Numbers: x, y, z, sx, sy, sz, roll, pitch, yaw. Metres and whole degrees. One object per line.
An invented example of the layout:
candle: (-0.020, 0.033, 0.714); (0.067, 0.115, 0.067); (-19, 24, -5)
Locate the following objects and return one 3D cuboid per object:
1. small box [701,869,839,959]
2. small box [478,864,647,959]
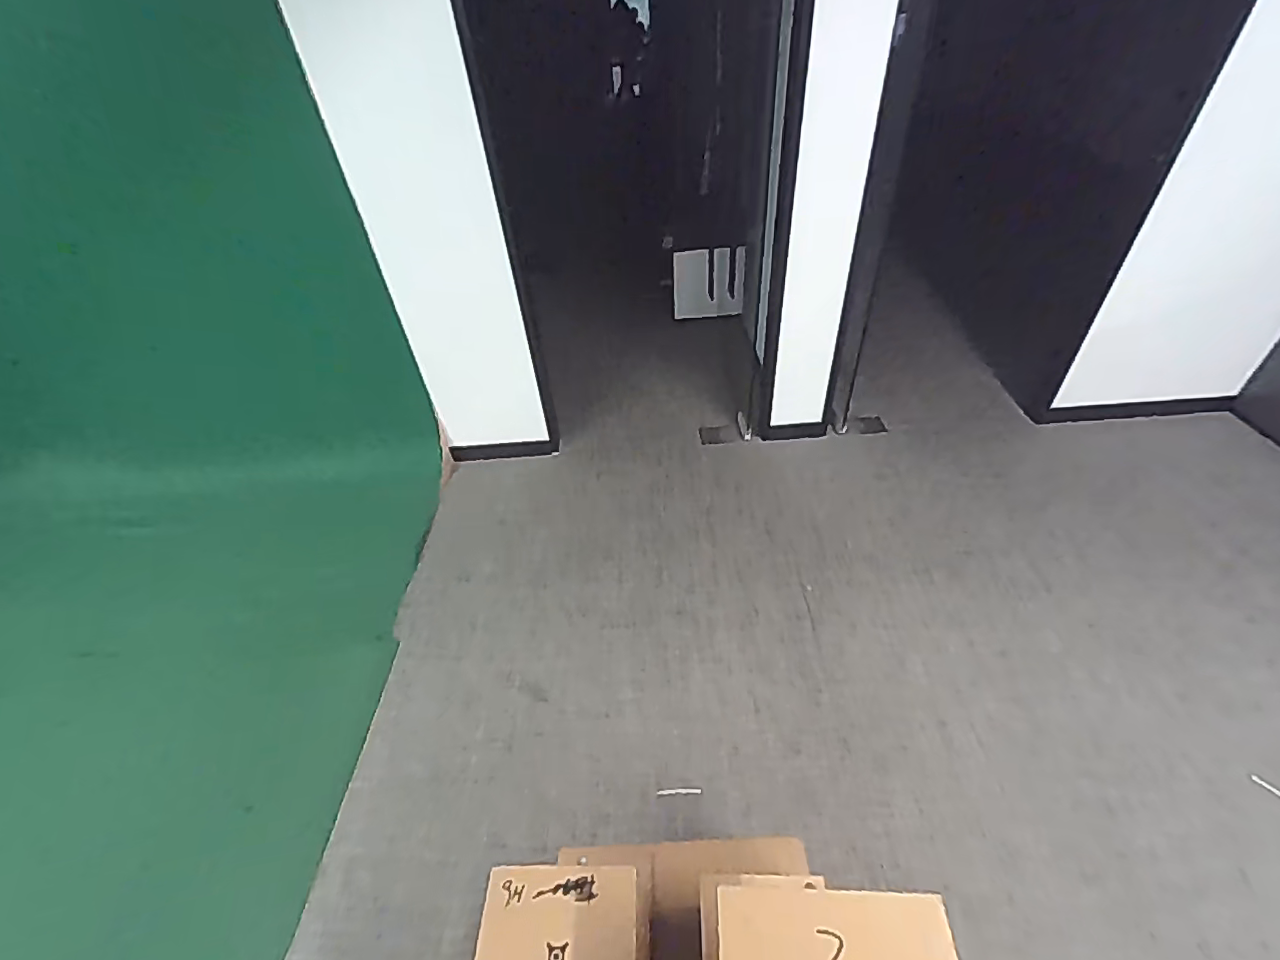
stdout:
small box: (0.168, 0.640, 0.709); (0.168, 0.176, 0.179); (-2, 41, 6)
small box: (-0.079, 0.547, 0.597); (0.168, 0.176, 0.179); (-2, 44, 3)
